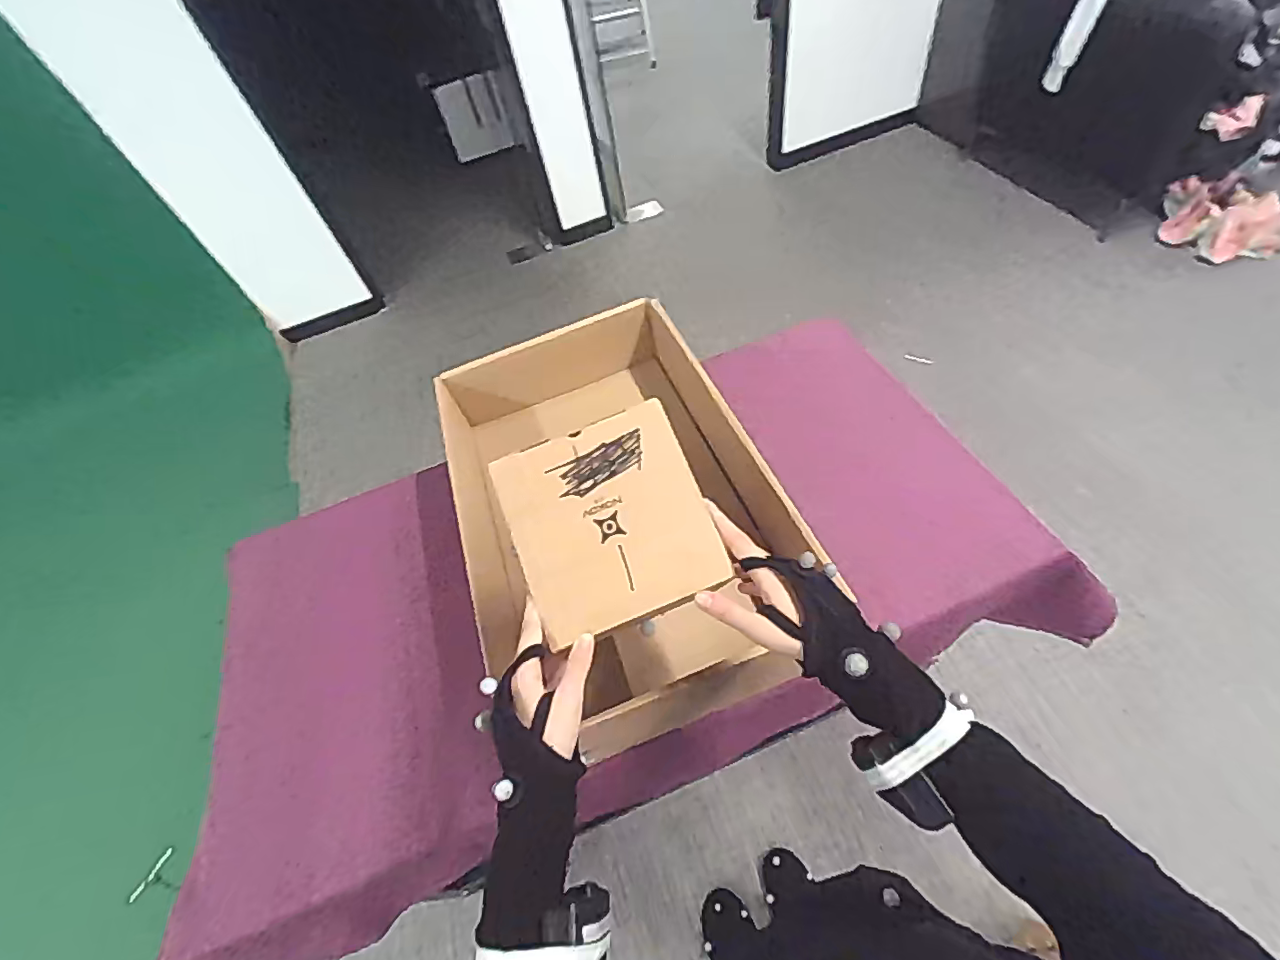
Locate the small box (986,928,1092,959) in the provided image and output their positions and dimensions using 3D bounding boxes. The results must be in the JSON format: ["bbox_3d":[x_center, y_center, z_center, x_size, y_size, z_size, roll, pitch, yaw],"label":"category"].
[{"bbox_3d":[0.728,0.929,0.947,0.179,0.176,0.168,-26,54,-9],"label":"small box"}]

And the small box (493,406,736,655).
[{"bbox_3d":[-0.023,0.058,0.538,0.168,0.176,0.179,-22,76,-3],"label":"small box"}]
